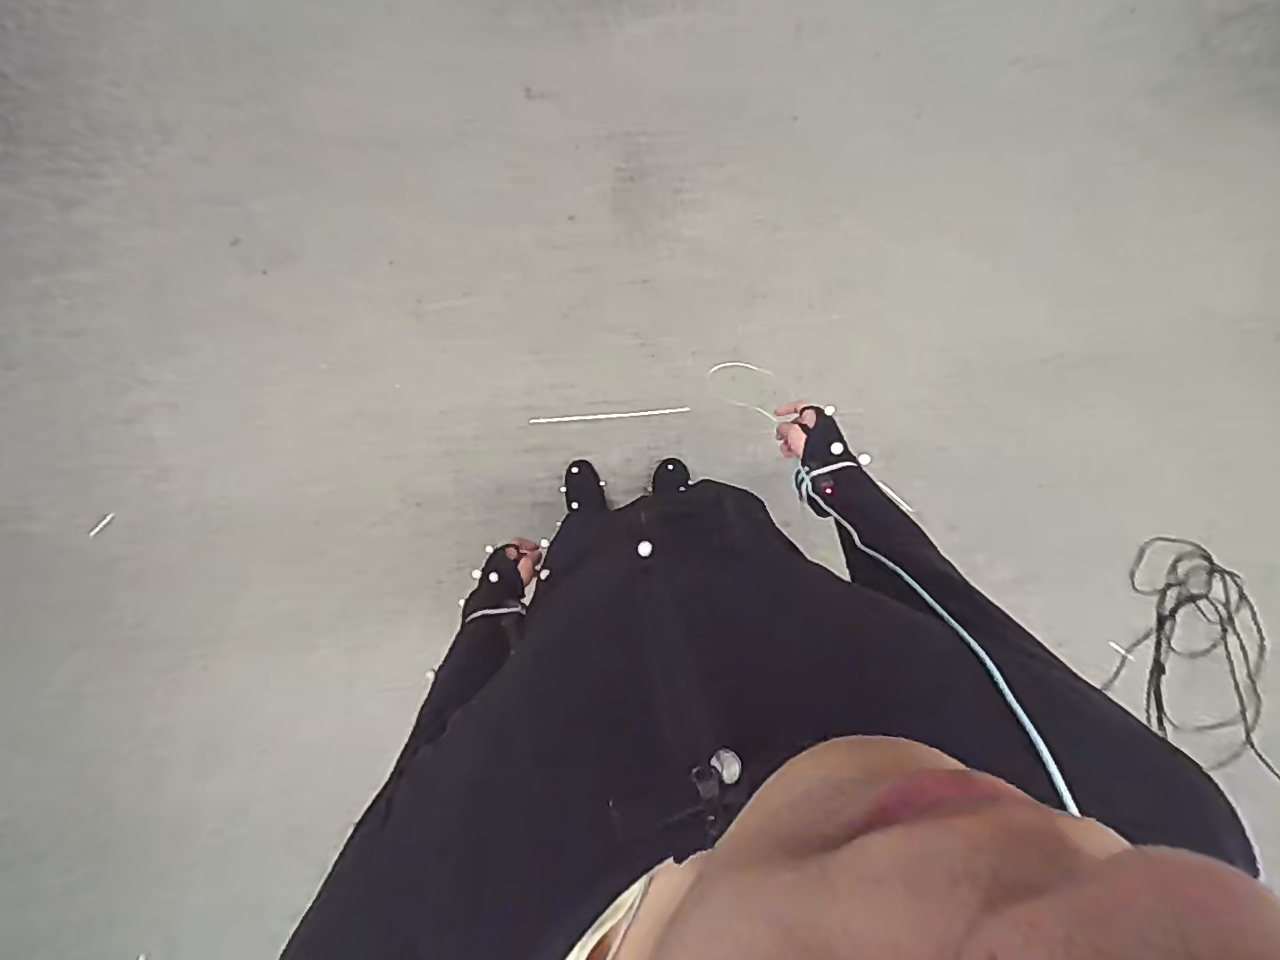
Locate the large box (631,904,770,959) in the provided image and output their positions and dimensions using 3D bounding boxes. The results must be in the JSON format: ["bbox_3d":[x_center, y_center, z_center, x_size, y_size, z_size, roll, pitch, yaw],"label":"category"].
[{"bbox_3d":[0.189,1.513,1.563,0.408,0.320,0.320,-6,92,0],"label":"large box"}]
